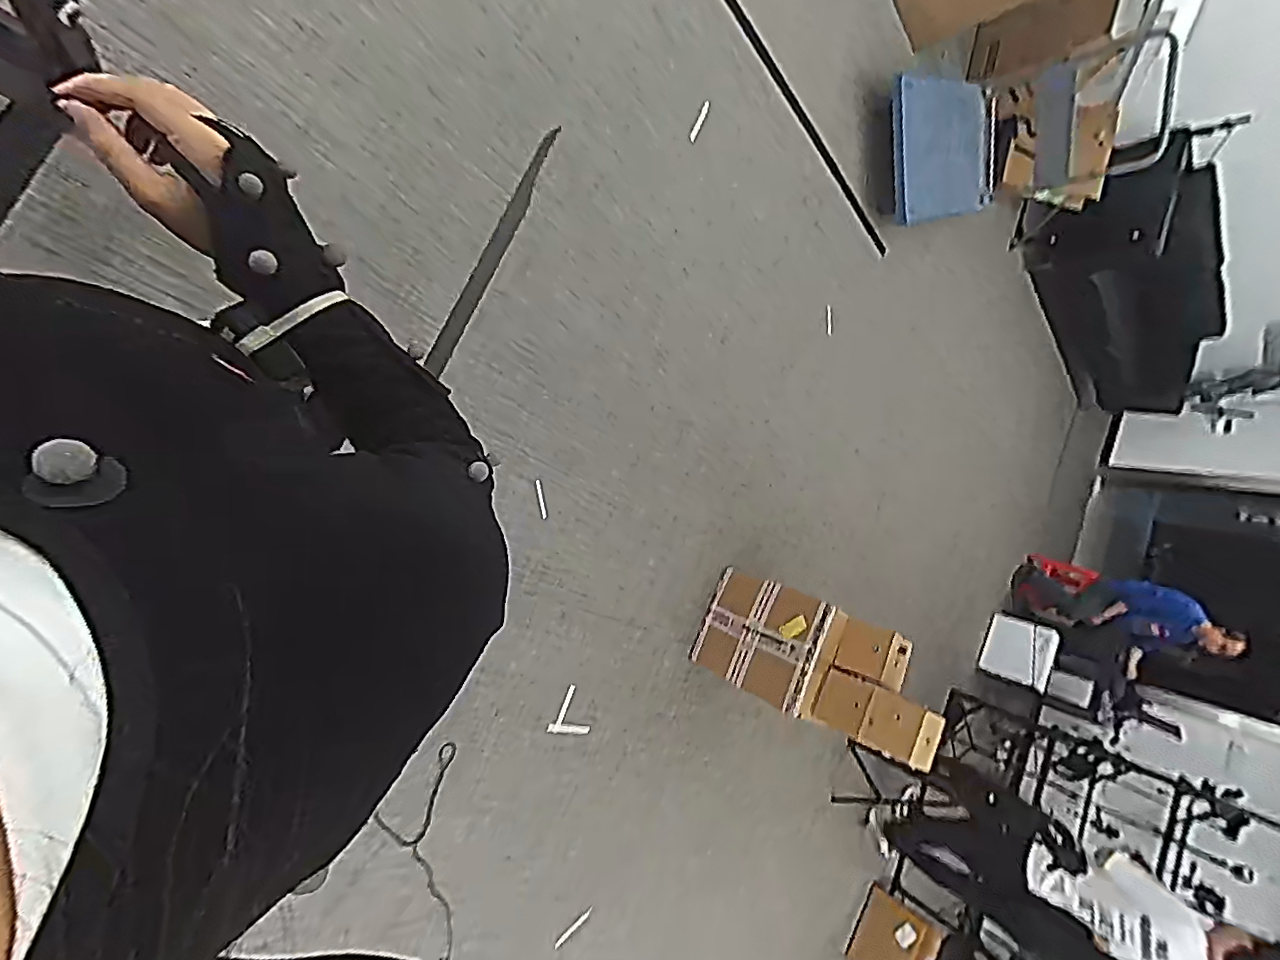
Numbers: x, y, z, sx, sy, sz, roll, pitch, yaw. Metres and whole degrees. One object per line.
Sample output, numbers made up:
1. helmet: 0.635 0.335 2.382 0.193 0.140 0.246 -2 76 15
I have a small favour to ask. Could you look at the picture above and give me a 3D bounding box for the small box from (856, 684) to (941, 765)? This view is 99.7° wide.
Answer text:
1. small box: 0.810 0.766 1.703 0.179 0.176 0.168 33 78 -38
